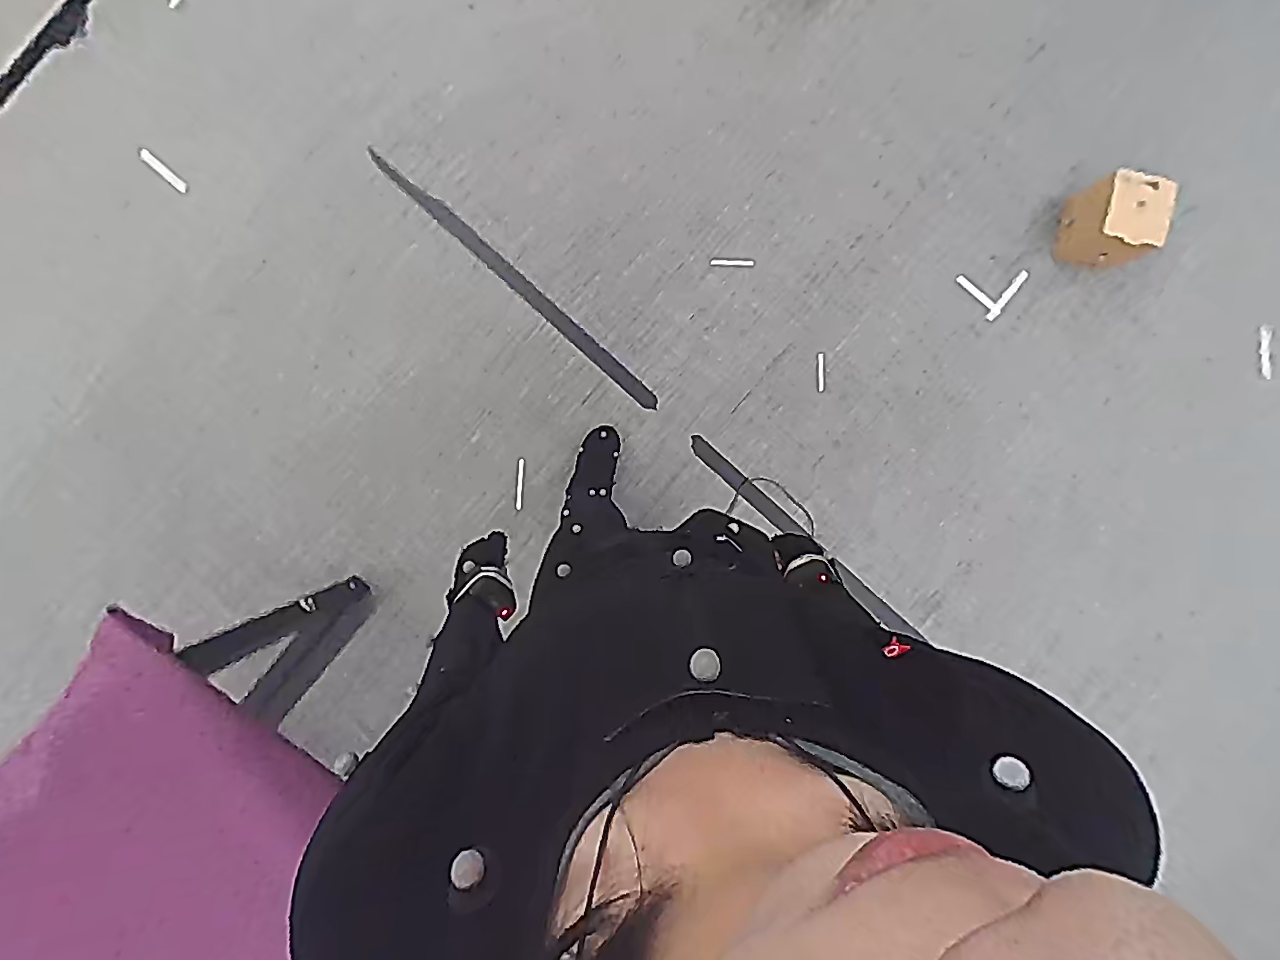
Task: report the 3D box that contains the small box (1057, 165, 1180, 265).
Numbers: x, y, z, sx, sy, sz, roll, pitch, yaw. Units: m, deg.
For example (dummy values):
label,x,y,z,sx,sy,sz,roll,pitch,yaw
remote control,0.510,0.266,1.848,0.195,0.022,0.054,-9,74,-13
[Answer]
label,x,y,z,sx,sy,sz,roll,pitch,yaw
small box,1.284,-0.707,1.465,0.168,0.176,0.179,13,92,-2
